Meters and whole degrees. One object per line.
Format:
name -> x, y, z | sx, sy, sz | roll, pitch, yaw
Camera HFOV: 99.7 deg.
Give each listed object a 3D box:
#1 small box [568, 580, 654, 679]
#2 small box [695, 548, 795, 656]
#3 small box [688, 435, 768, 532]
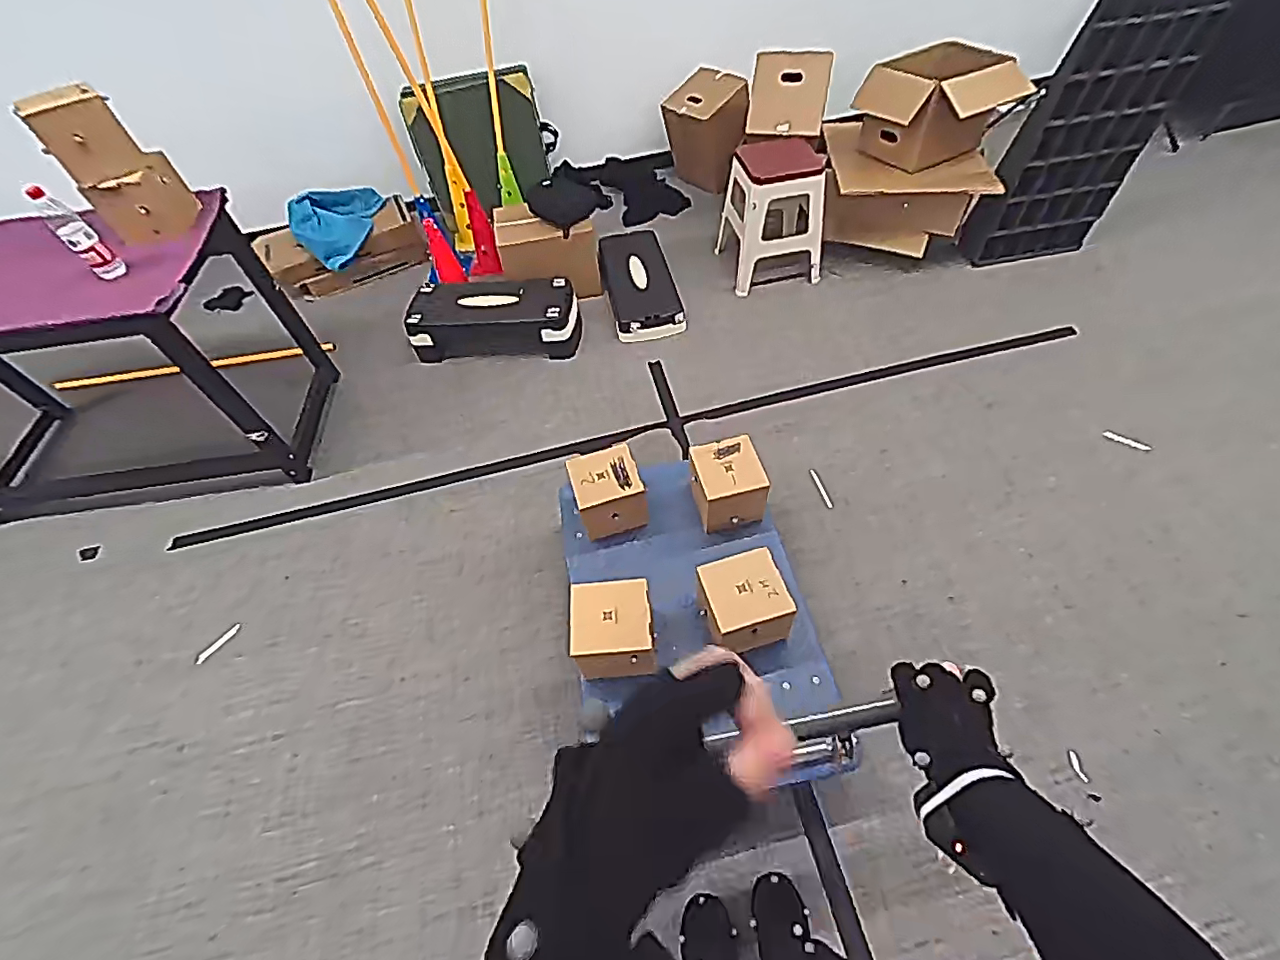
small box -> -0.063, 0.346, 1.237 | 0.179, 0.176, 0.168 | -5, 54, 0
small box -> 0.235, 0.287, 1.250 | 0.179, 0.176, 0.168 | -16, 55, -6
small box -> 0.227, 0.011, 1.449 | 0.168, 0.176, 0.179 | -14, 55, -4
